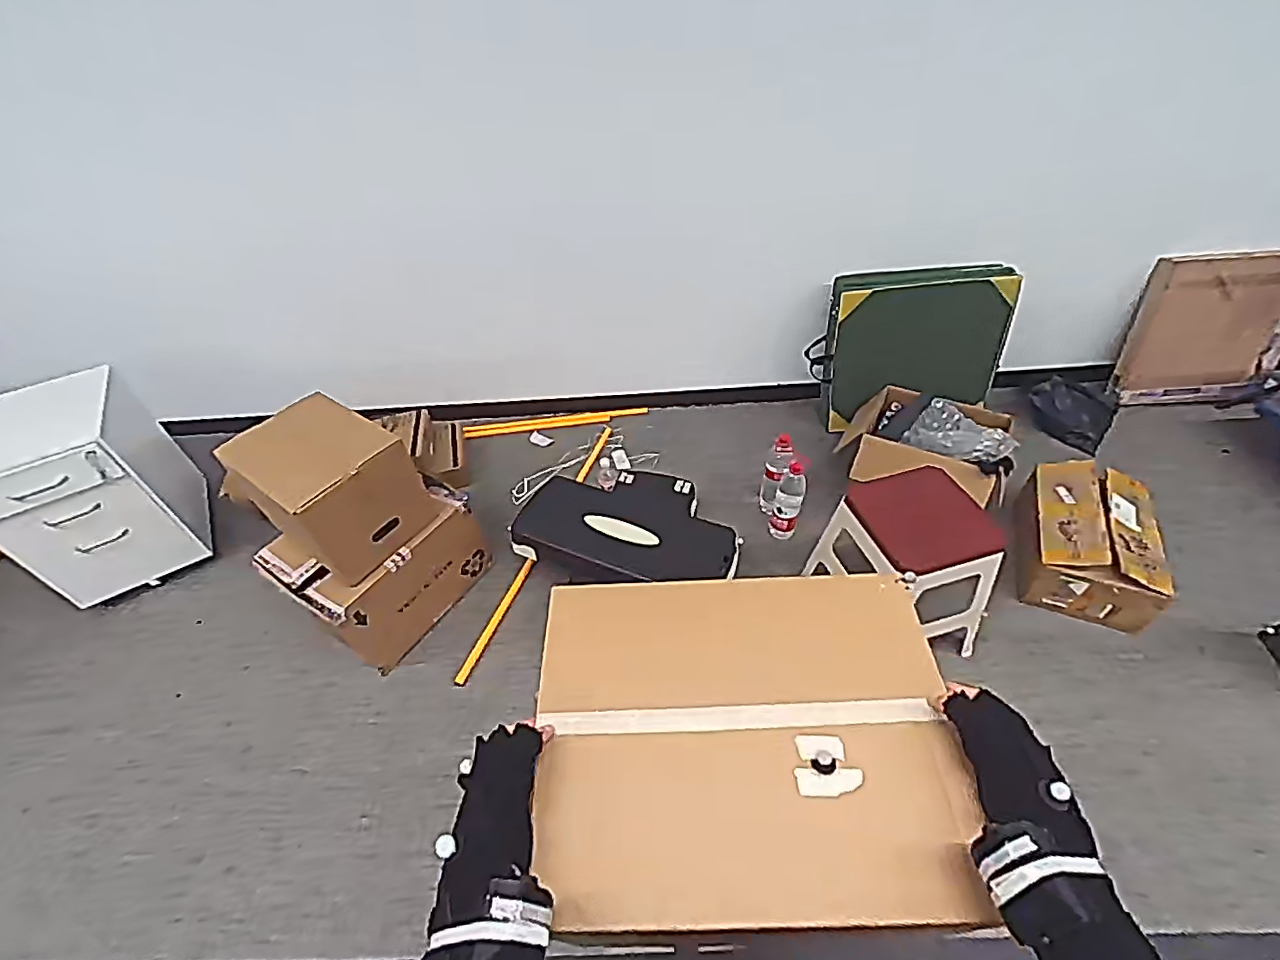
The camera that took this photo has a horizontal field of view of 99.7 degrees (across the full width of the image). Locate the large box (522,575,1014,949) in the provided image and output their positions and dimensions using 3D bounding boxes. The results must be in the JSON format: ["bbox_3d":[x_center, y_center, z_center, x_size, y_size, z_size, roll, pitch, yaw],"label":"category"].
[{"bbox_3d":[0.103,0.335,0.639,0.408,0.320,0.320,-3,47,2],"label":"large box"}]
